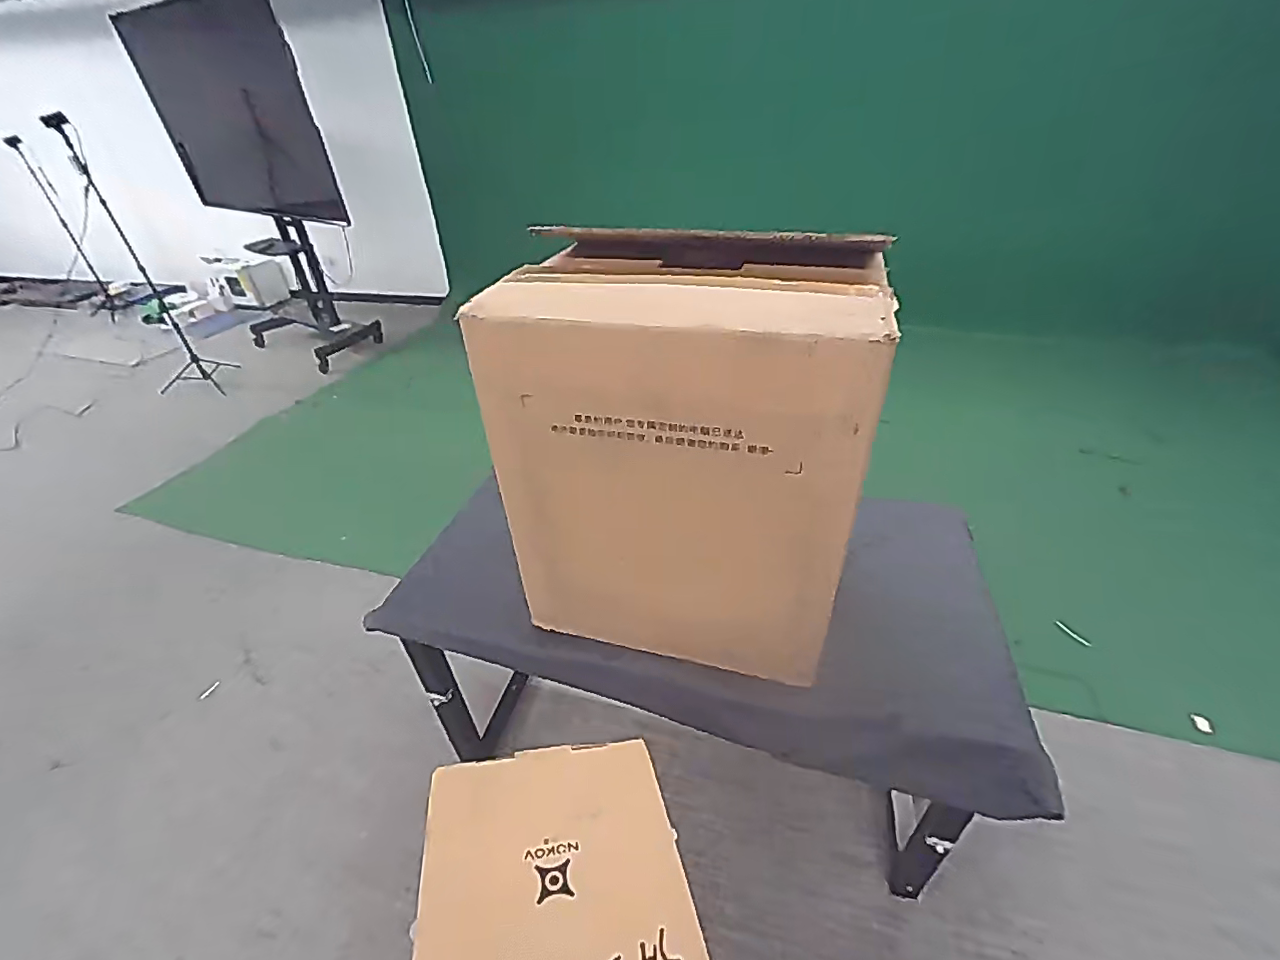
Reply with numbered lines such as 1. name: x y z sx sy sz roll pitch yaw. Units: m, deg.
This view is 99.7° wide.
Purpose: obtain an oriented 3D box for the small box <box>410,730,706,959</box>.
1. small box: -0.064 0.319 0.388 0.168 0.176 0.179 -3 25 -14
